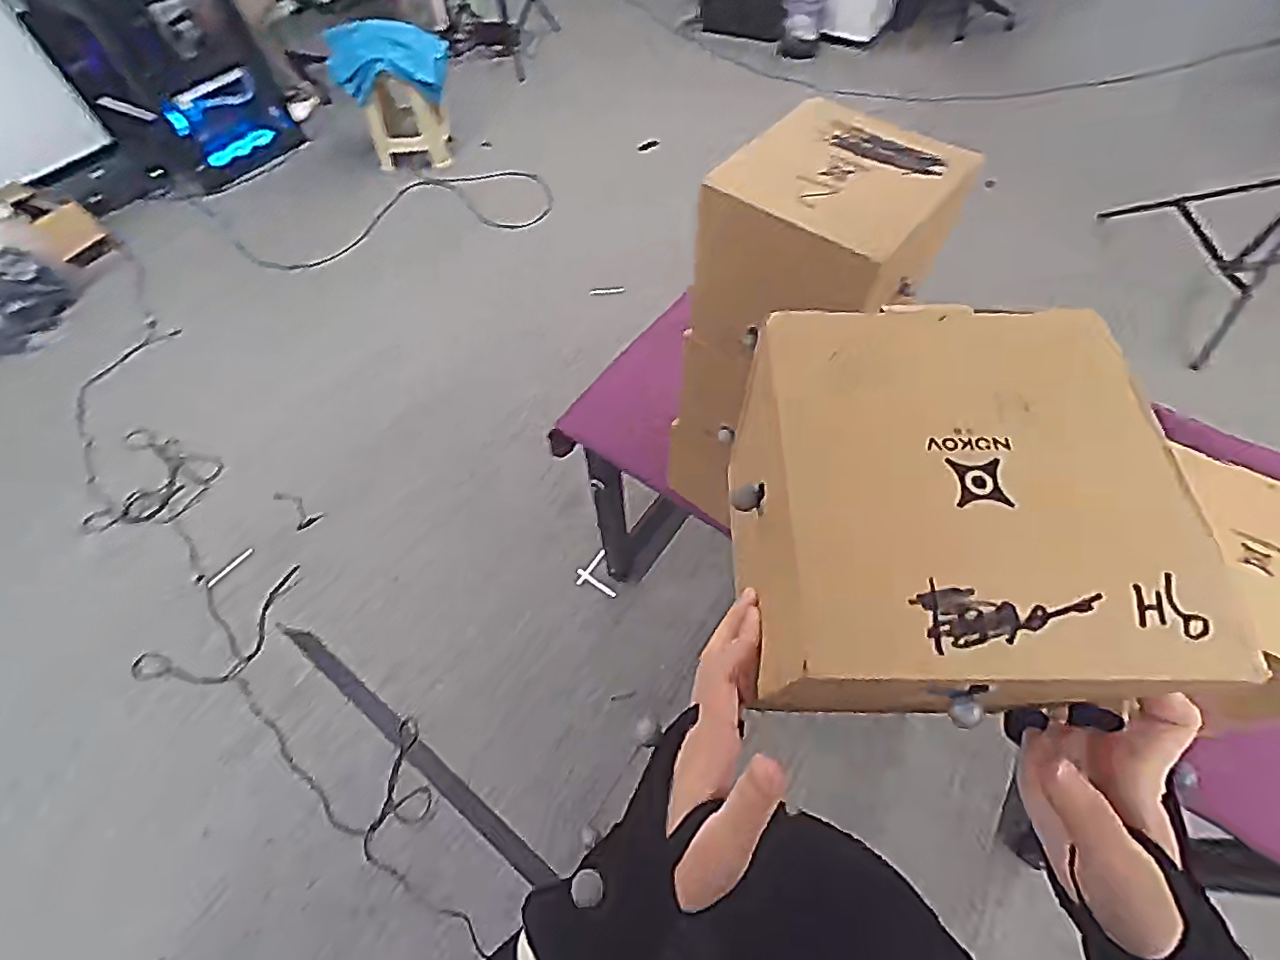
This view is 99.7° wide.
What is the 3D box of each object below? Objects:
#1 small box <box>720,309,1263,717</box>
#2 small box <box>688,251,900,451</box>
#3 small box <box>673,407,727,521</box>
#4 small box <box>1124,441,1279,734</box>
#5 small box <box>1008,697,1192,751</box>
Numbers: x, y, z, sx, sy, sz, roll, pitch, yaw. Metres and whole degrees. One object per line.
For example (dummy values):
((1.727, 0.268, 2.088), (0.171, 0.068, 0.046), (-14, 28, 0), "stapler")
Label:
((0.139, 0.029, 0.300), (0.168, 0.176, 0.179), (-1, 63, 1), "small box")
((0.169, -0.131, 0.649), (0.168, 0.176, 0.179), (35, 66, 20), "small box")
((0.164, -0.041, 0.787), (0.179, 0.176, 0.168), (35, 65, 21), "small box")
((0.499, 0.104, 0.498), (0.168, 0.176, 0.179), (30, 63, 20), "small box")
((0.507, 0.188, 0.638), (0.168, 0.176, 0.179), (31, 65, 20), "small box")
